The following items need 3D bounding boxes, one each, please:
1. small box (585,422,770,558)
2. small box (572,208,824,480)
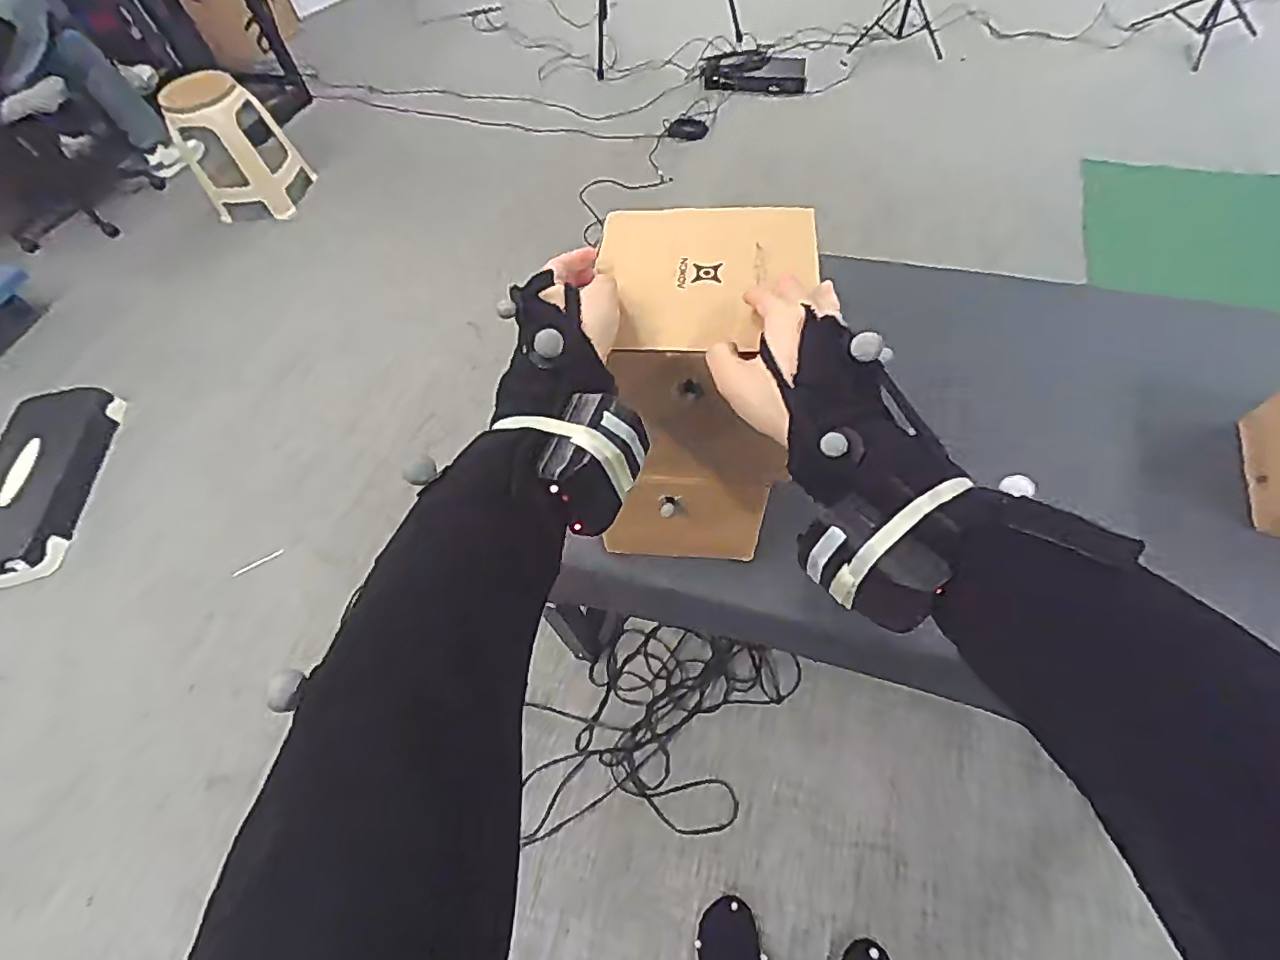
[{"bbox_3d":[0.049,-0.022,0.613,0.179,0.176,0.168,3,58,8],"label":"small box"},{"bbox_3d":[0.053,-0.112,0.477,0.179,0.176,0.168,3,59,7],"label":"small box"}]
